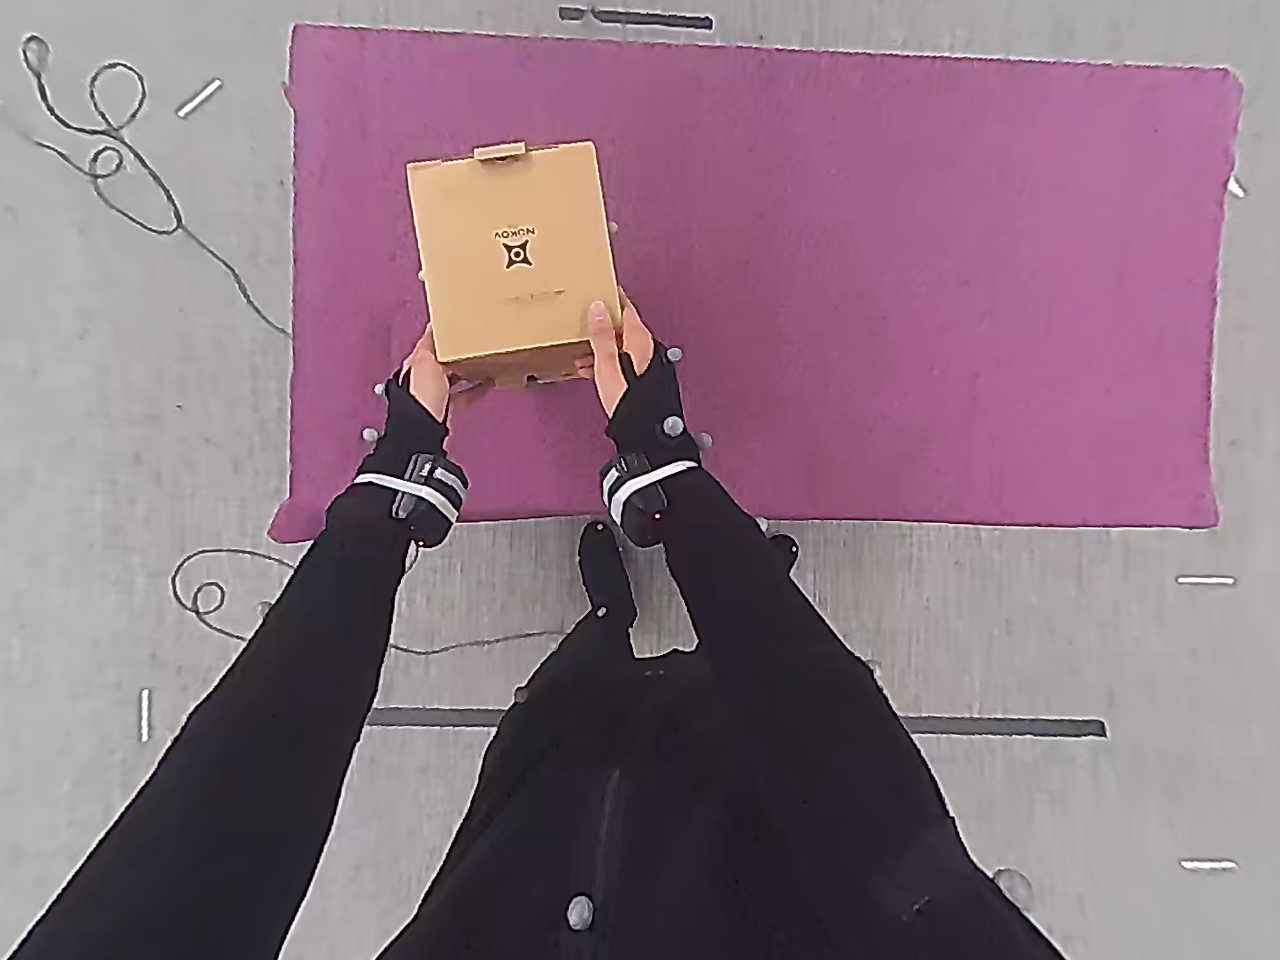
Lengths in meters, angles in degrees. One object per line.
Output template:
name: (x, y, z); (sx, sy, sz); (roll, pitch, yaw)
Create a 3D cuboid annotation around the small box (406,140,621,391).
small box: (-0.114, -0.199, 0.543); (0.168, 0.176, 0.179); (-8, 90, -3)
